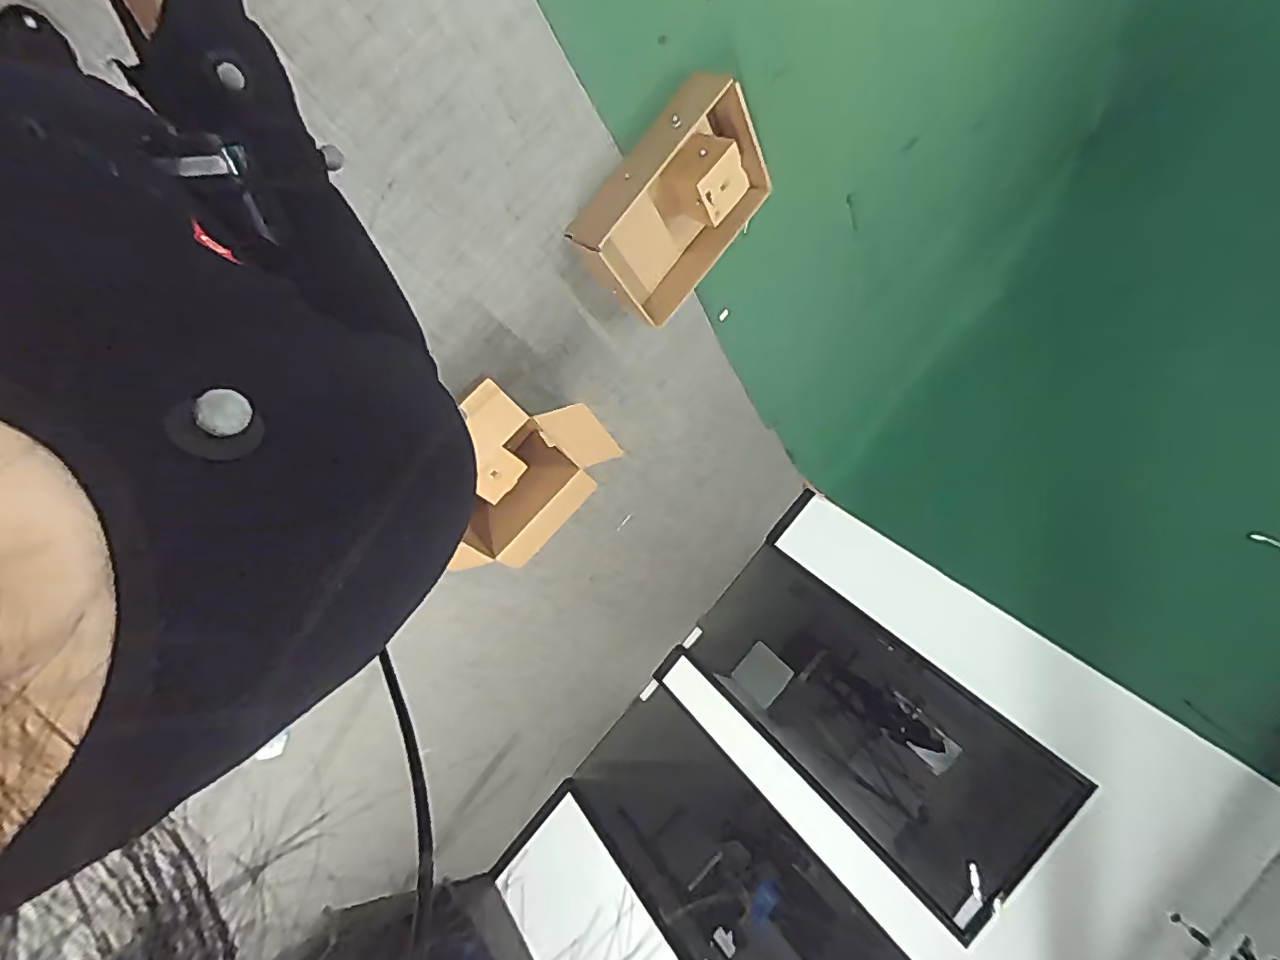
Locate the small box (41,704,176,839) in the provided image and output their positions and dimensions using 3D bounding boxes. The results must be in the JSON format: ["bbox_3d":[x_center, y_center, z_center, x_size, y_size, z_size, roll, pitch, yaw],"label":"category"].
[{"bbox_3d":[-1.135,0.606,1.154,0.179,0.176,0.168,12,110,-50],"label":"small box"}]

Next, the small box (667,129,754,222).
[{"bbox_3d":[0.215,-0.939,1.664,0.179,0.176,0.168,-50,145,0],"label":"small box"}]
